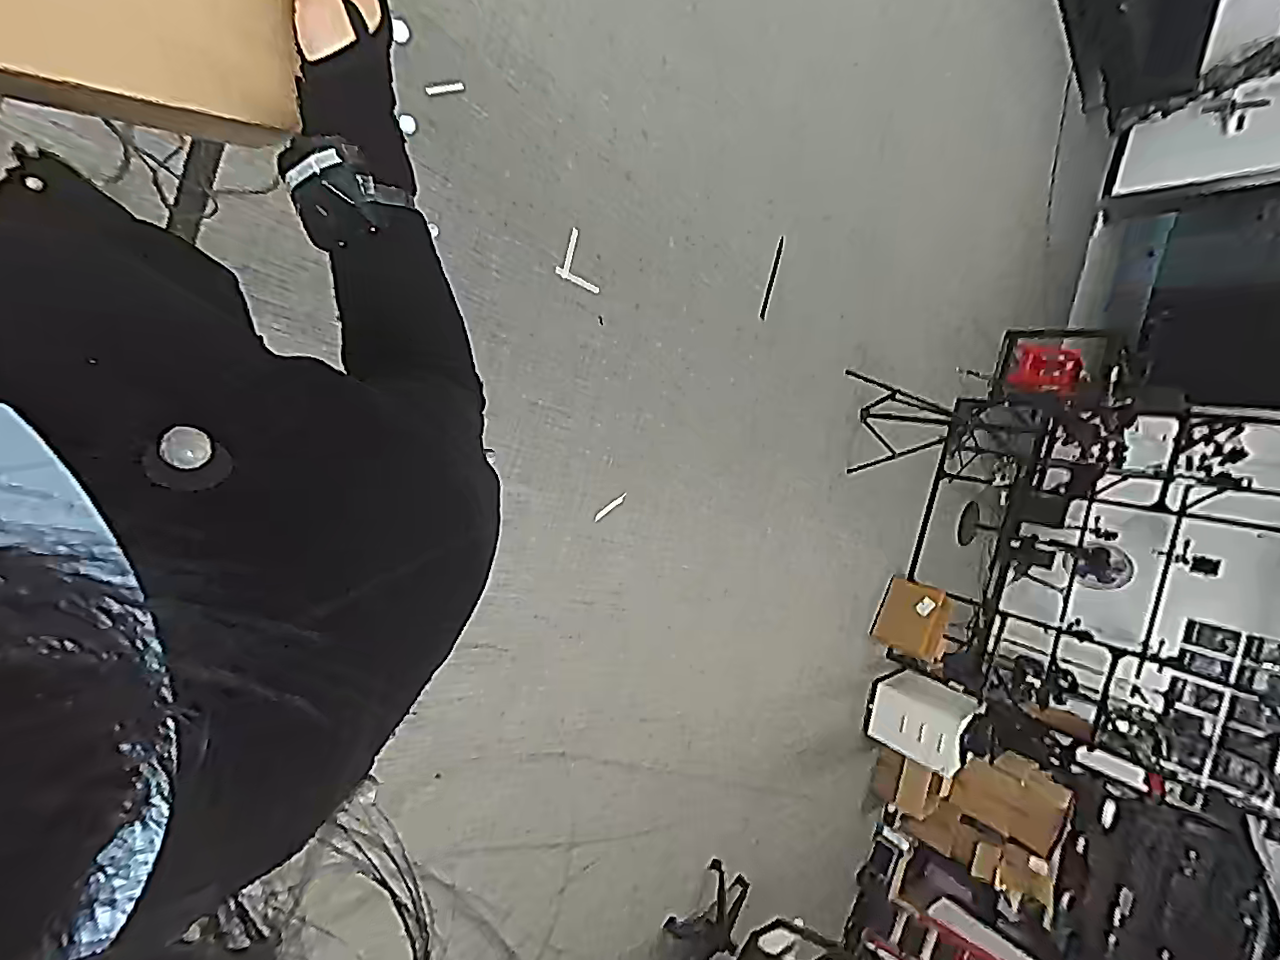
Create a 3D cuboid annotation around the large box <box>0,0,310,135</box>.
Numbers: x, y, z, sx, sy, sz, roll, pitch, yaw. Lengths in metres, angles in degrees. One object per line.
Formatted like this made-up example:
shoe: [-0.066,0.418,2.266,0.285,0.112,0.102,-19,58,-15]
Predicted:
large box: [-0.482,-0.445,0.349,0.408,0.320,0.320,-10,119,-38]
